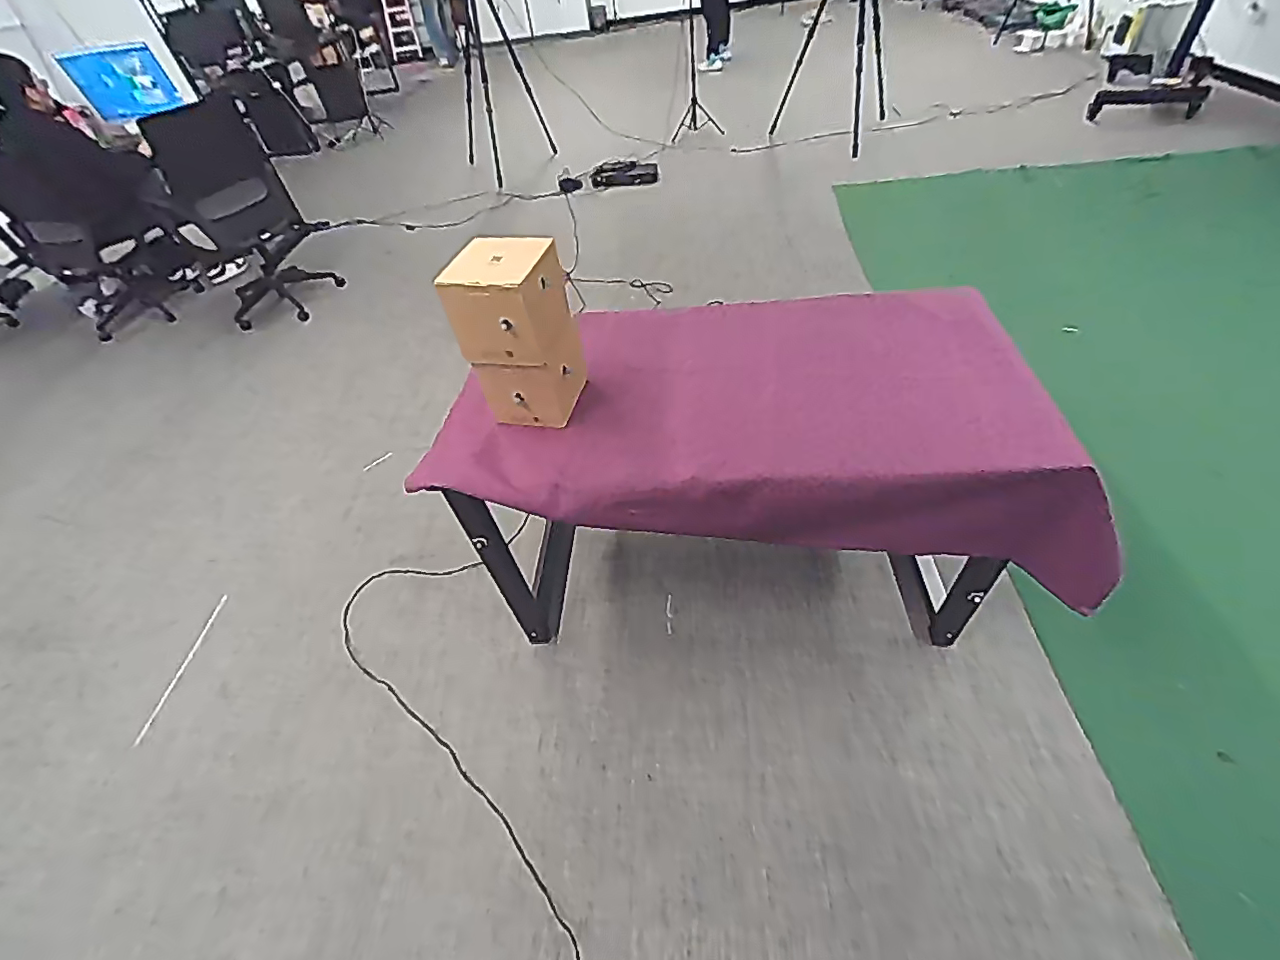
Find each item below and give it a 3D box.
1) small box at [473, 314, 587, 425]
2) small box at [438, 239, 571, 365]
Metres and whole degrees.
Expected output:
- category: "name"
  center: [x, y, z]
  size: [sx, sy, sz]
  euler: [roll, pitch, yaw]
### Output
- category: "small box"
  center: [-0.222, -0.234, 1.153]
  size: [0.168, 0.176, 0.179]
  euler: [5, 50, 13]
- category: "small box"
  center: [-0.244, -0.336, 1.026]
  size: [0.168, 0.176, 0.179]
  euler: [7, 49, 14]
